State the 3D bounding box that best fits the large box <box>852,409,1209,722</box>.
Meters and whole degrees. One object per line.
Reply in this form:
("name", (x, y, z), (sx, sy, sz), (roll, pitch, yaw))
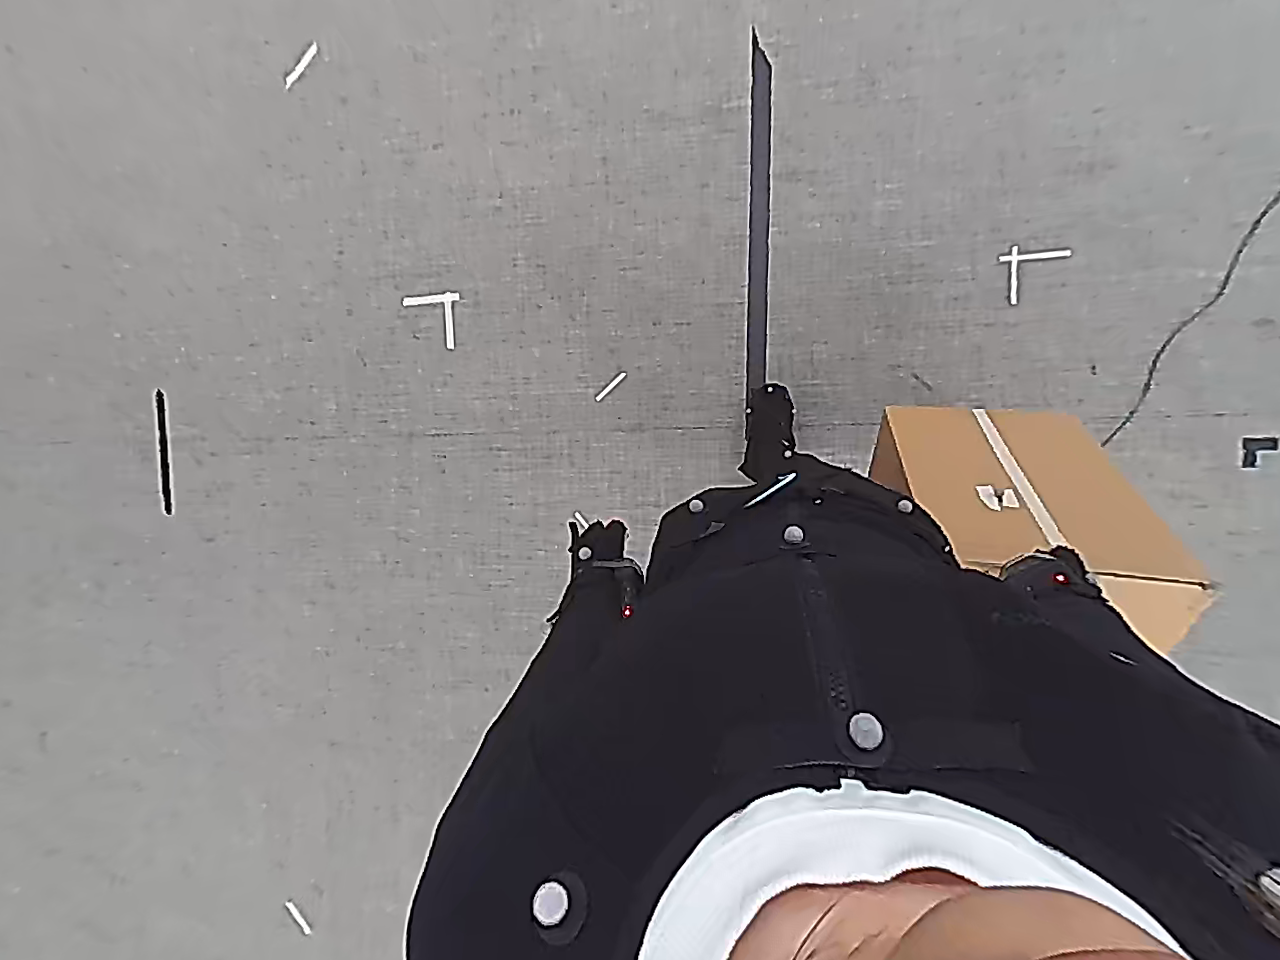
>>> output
("large box", (0.565, 0.119, 0.906), (0.320, 0.408, 0.320), (4, 128, 11))
